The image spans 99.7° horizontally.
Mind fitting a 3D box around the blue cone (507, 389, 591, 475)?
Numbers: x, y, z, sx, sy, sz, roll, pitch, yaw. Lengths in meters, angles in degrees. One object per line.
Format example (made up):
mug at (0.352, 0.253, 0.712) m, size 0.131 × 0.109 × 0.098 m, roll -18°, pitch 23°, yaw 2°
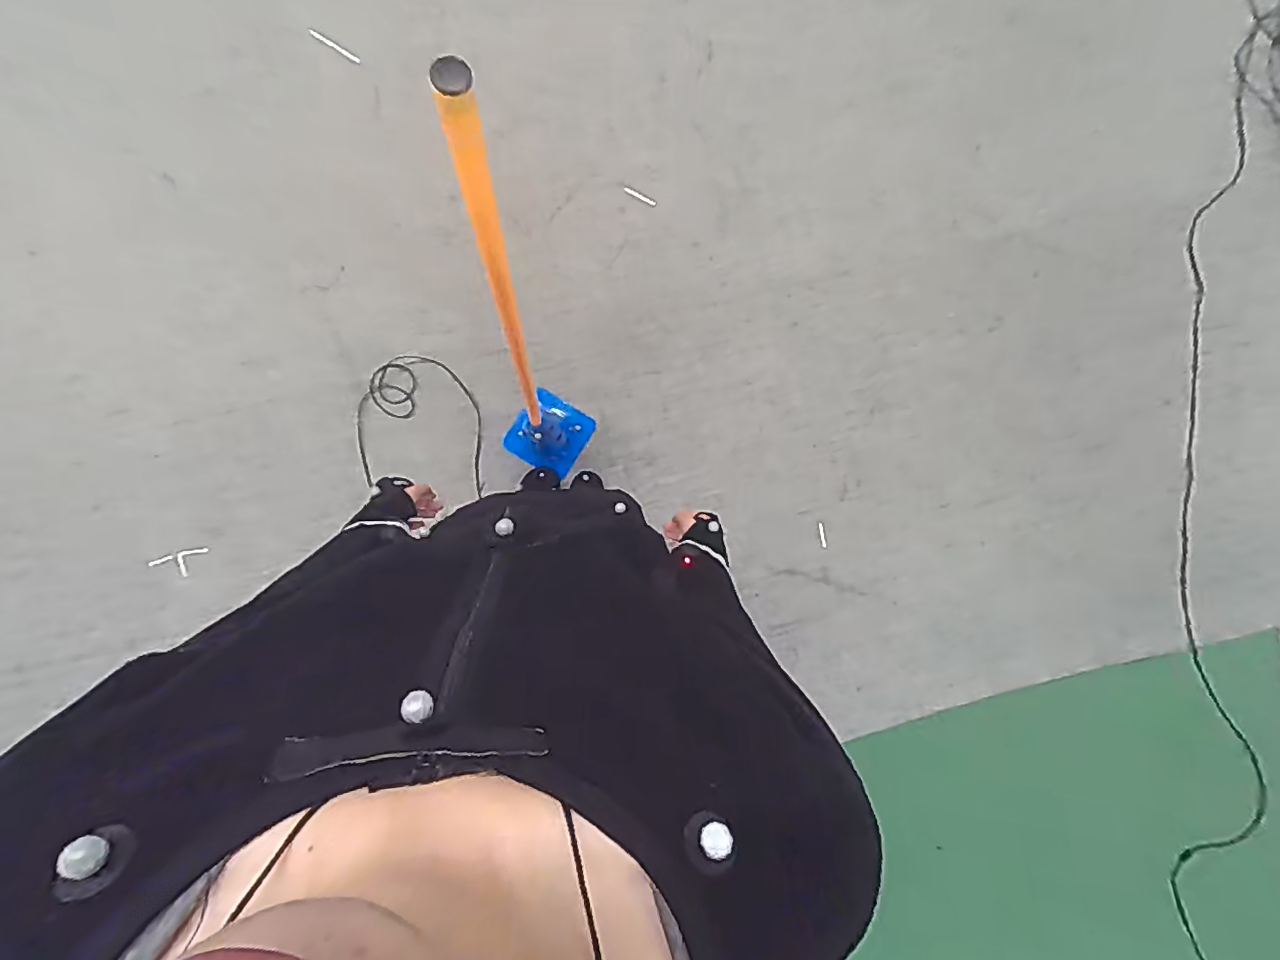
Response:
blue cone at (-0.232, -0.132, 1.307) m, size 0.192 × 0.380 × 0.193 m, roll 31°, pitch 87°, yaw -5°
